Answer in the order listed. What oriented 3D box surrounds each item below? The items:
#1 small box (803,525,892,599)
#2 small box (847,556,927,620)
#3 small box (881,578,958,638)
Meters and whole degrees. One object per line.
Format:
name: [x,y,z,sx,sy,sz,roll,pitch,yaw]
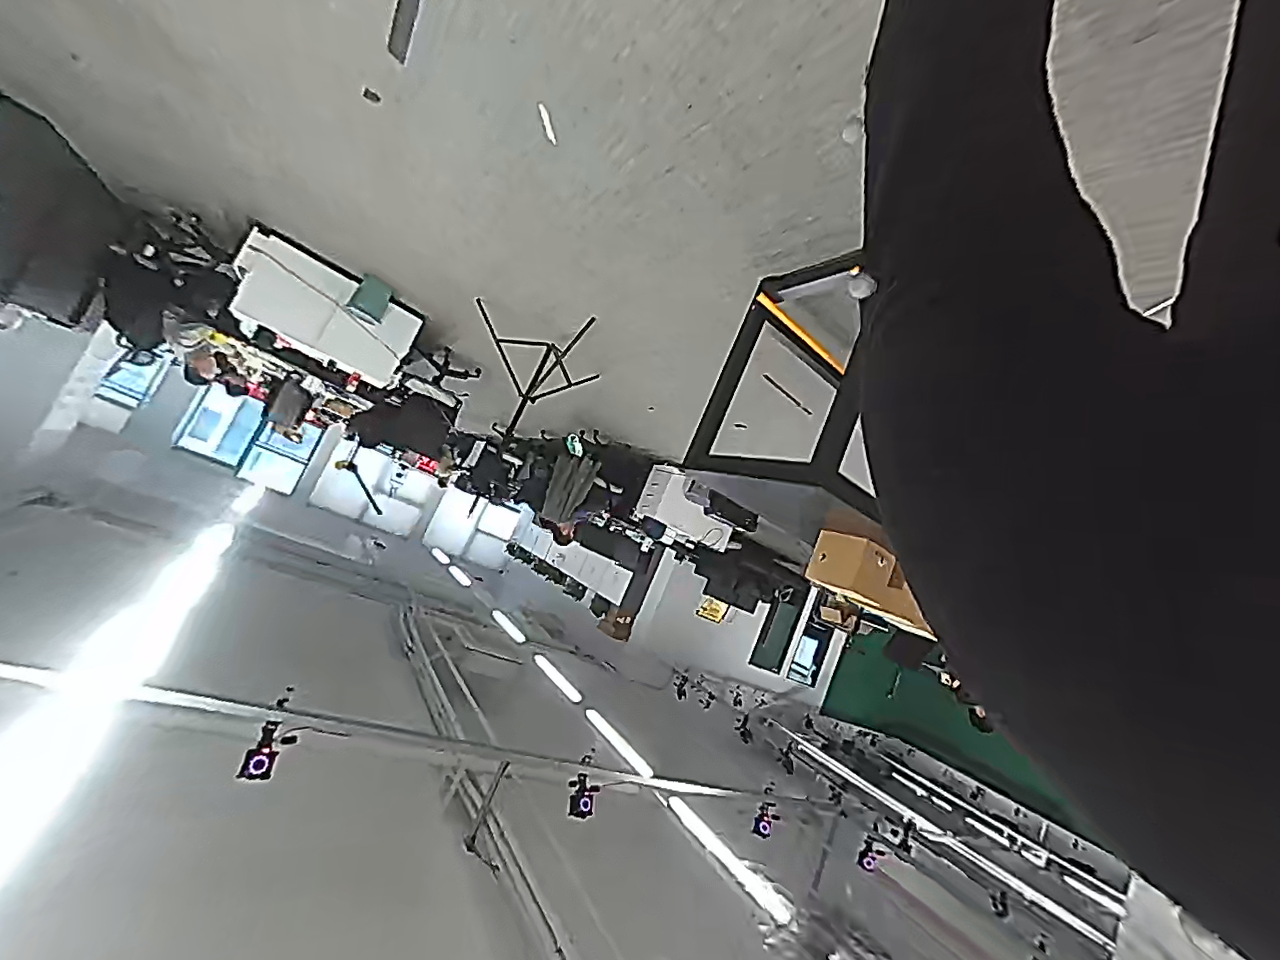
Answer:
small box: [0.654,0.252,1.698,0.168,0.176,0.179,26,171,-30]
small box: [0.837,0.349,1.818,0.168,0.176,0.179,29,171,-31]
small box: [1.008,0.441,1.944,0.179,0.176,0.168,29,171,-31]
